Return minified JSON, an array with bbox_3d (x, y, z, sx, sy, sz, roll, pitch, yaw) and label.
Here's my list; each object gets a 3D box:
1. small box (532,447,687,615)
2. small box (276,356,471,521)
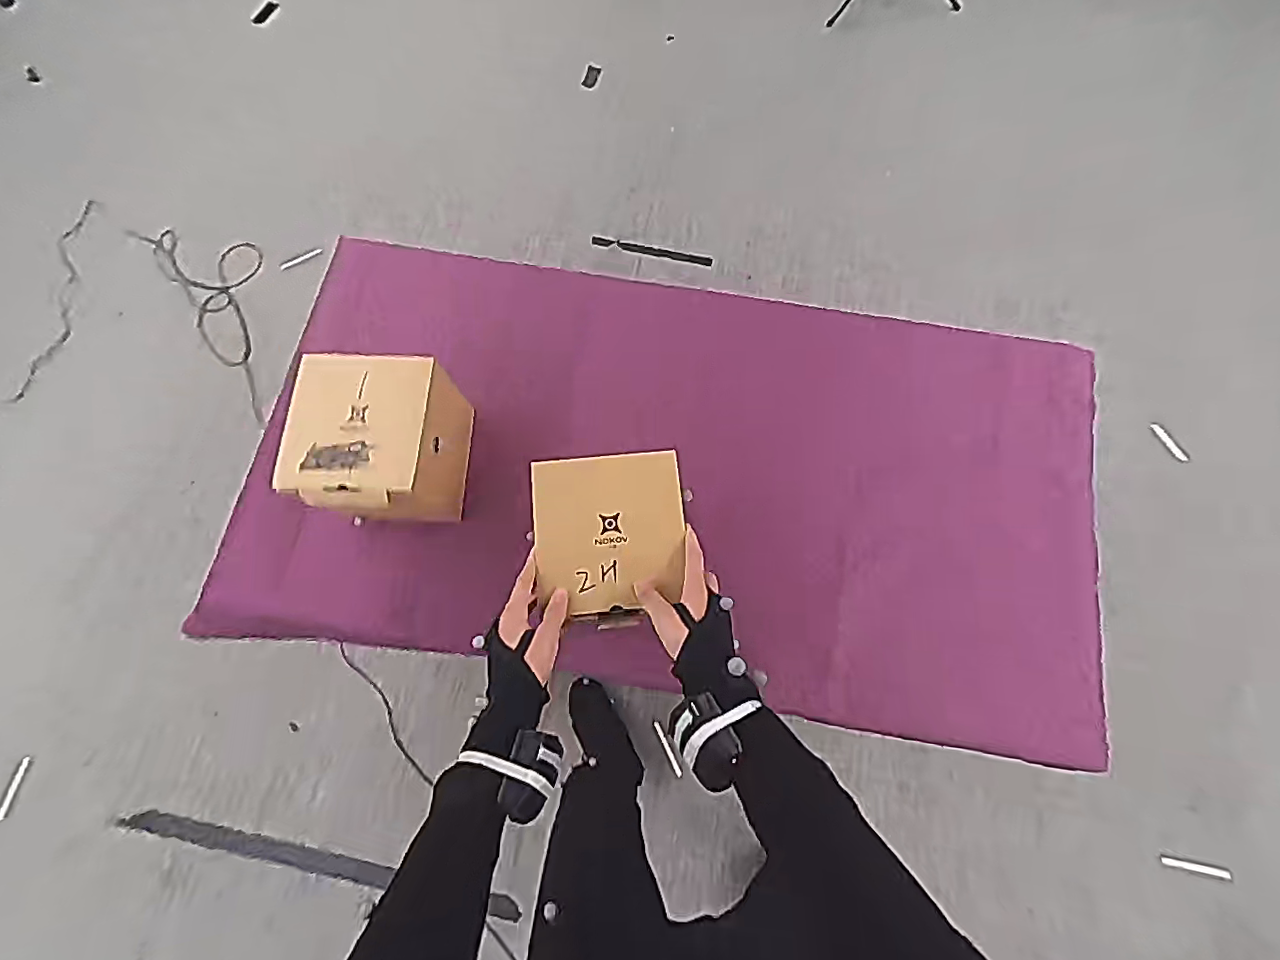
[{"bbox_3d":[-0.038,0.071,0.668,0.168,0.176,0.179,-4,75,-1],"label":"small box"},{"bbox_3d":[-0.336,-0.046,0.721,0.168,0.176,0.179,2,73,1],"label":"small box"}]
